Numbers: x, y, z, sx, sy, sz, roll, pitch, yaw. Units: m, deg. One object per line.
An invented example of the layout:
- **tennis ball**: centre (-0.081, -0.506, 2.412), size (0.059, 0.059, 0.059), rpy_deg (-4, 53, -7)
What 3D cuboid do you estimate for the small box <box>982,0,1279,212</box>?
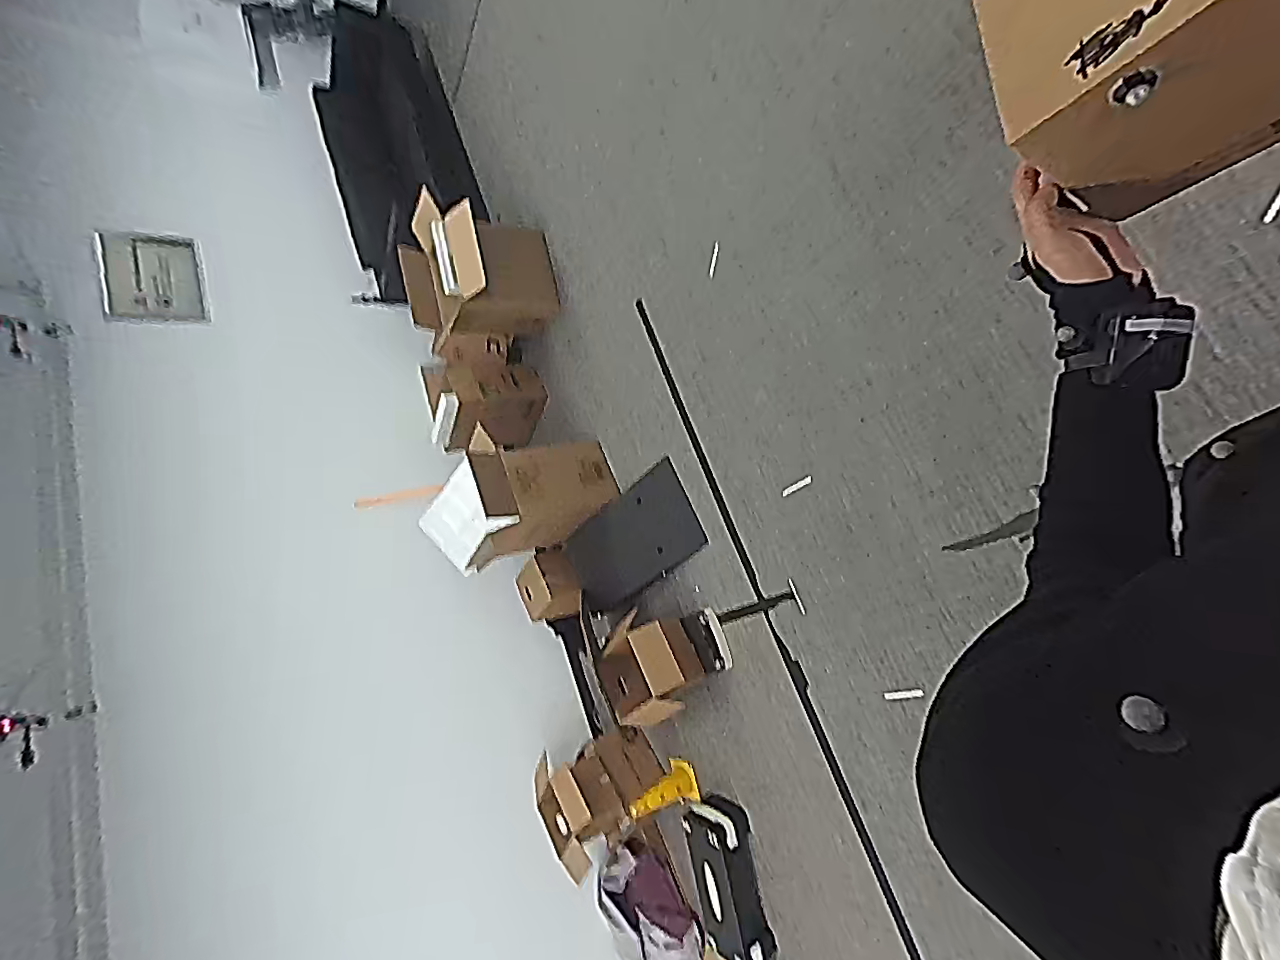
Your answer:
- **small box**: centre (0.365, -0.324, 0.365), size (0.168, 0.176, 0.179), rpy_deg (-22, 65, 58)
